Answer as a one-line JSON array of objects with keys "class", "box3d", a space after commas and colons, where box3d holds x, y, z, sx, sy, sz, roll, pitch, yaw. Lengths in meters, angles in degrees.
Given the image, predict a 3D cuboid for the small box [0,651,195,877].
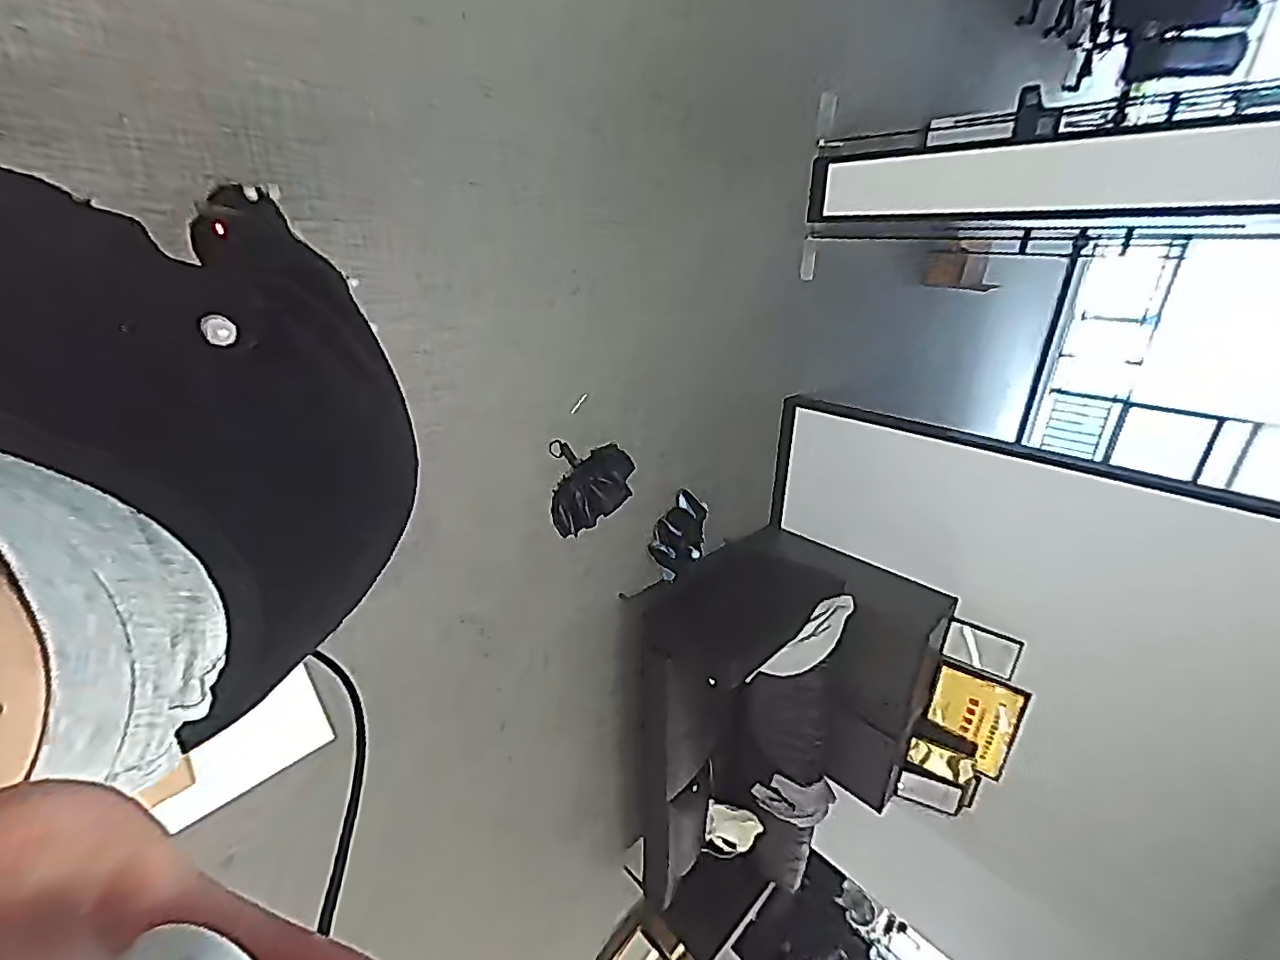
[{"class": "small box", "box3d": [-0.751, 0.373, 0.740, 0.168, 0.176, 0.179, -25, 126, -39]}]
